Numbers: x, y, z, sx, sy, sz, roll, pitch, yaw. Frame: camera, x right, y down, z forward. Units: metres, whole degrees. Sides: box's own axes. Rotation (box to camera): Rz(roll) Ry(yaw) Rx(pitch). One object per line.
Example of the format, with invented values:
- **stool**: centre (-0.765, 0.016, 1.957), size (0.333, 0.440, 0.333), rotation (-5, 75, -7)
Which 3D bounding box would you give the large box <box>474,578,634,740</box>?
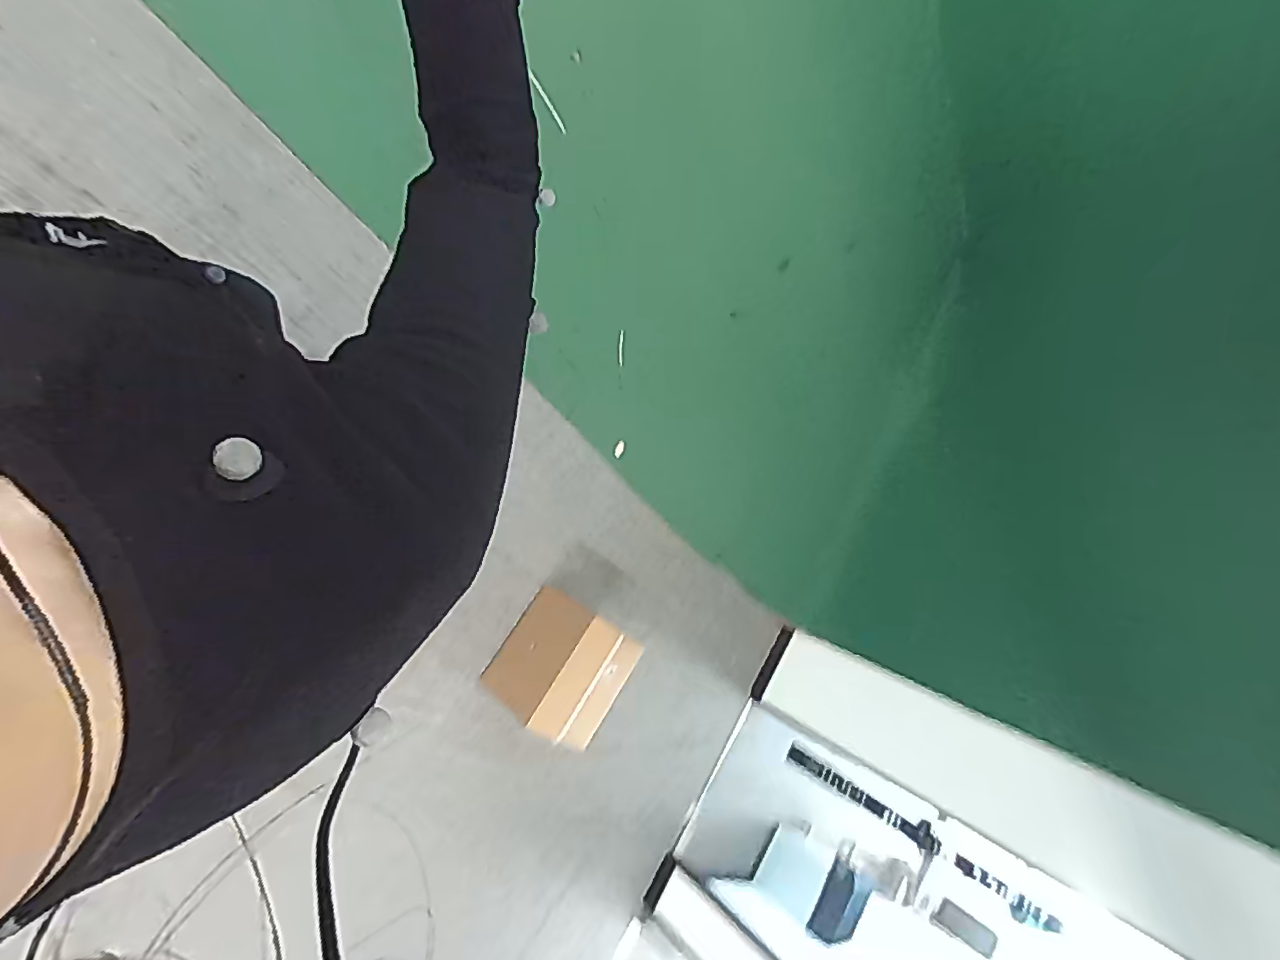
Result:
- **large box**: centre (-0.301, 0.621, 1.902), size (0.408, 0.320, 0.320), rotation (-58, 134, -16)
